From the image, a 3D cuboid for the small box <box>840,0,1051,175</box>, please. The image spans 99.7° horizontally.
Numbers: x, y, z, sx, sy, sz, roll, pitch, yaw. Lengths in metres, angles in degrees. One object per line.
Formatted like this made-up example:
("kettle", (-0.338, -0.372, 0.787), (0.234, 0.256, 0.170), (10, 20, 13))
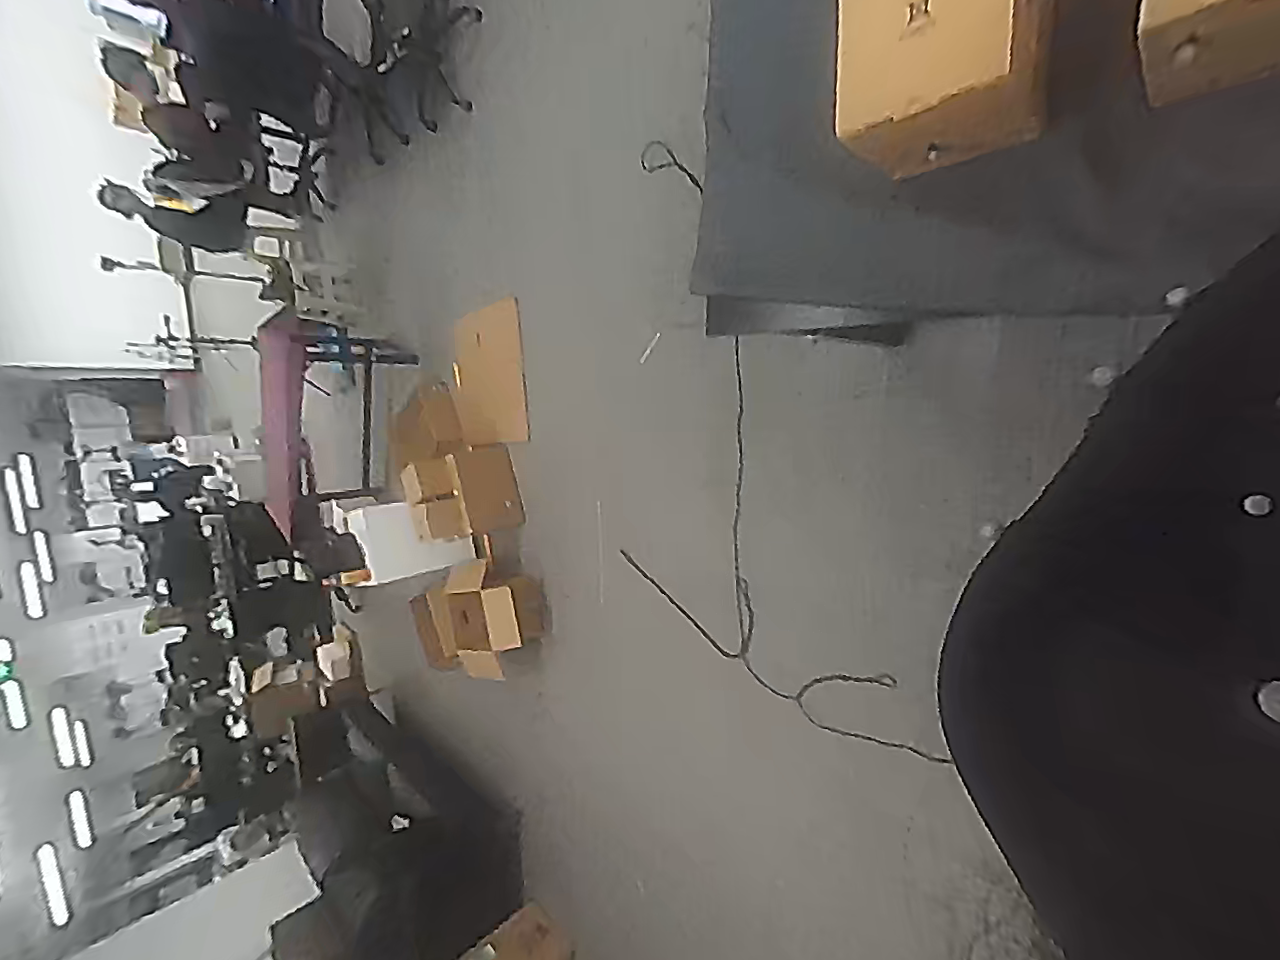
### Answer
("small box", (0.339, -0.474, 0.599), (0.168, 0.176, 0.179), (7, 102, 44))
